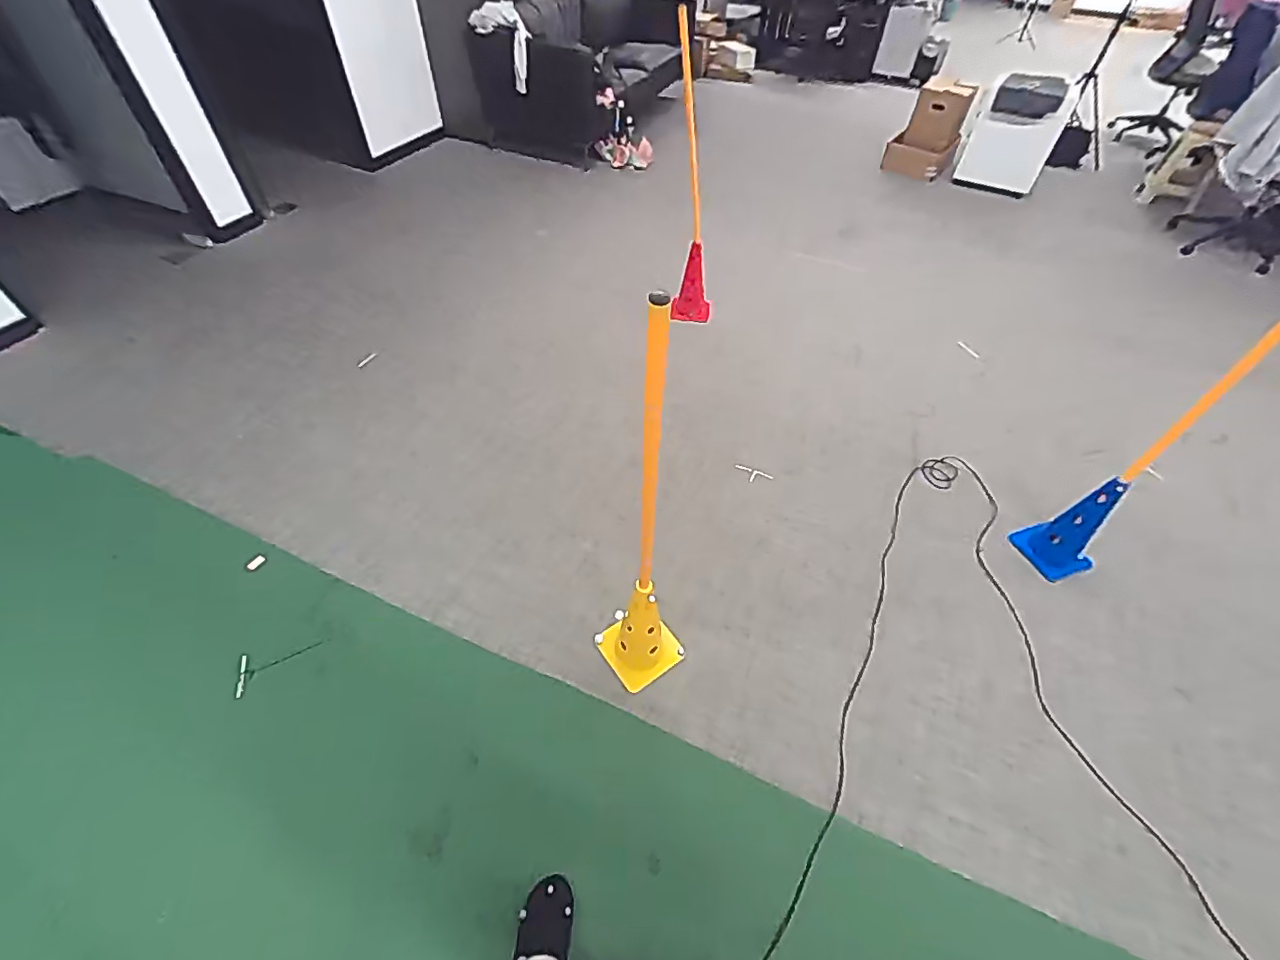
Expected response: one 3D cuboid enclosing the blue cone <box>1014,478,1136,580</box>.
[{"bbox_3d":[1.397,0.127,1.703,0.193,0.380,0.192,-13,50,-17],"label":"blue cone"}]
